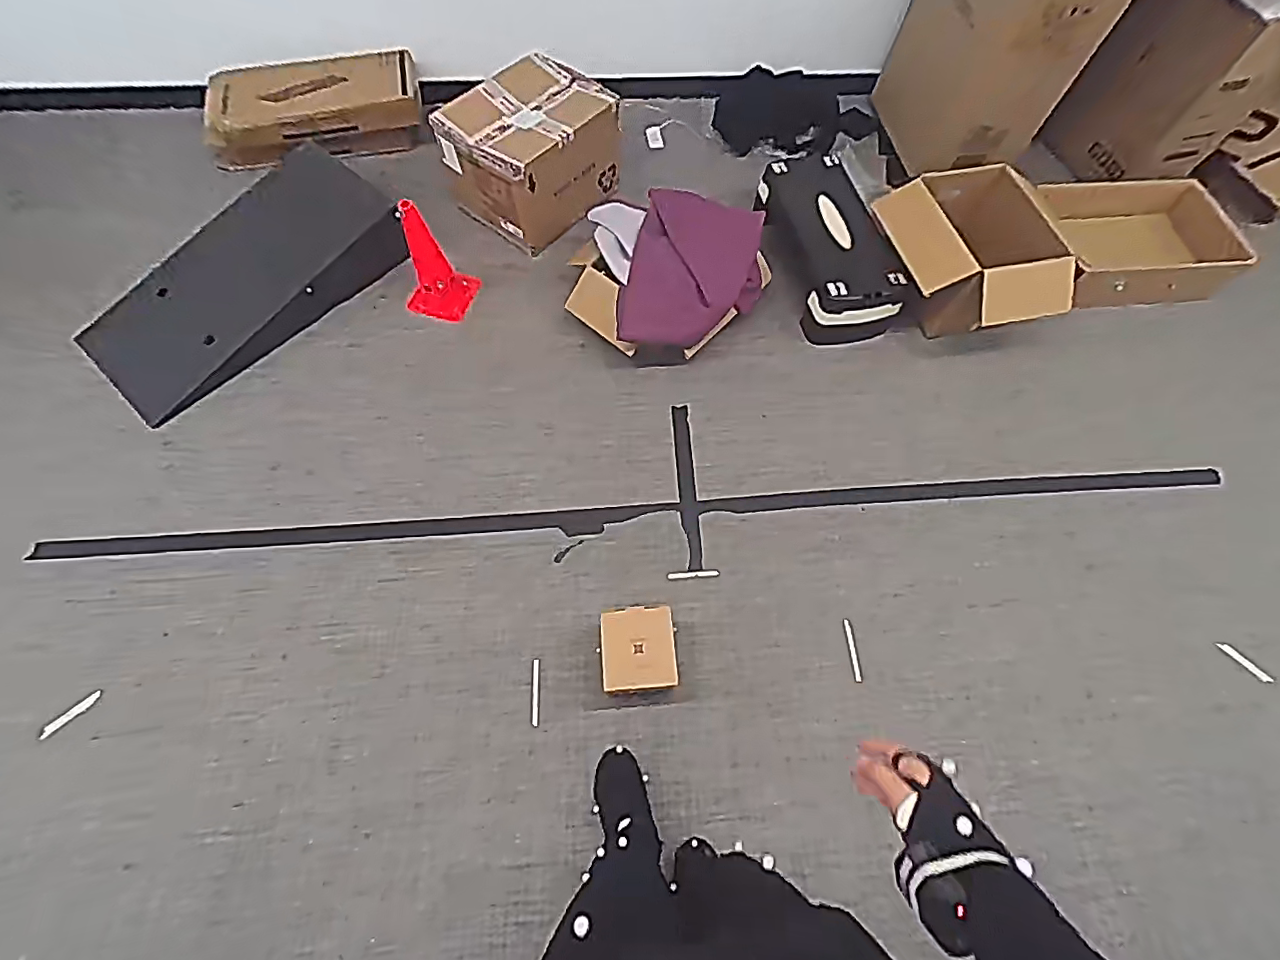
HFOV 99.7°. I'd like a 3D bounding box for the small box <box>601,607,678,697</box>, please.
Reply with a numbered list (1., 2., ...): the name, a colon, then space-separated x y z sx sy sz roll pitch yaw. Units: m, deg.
1. small box: -0.006 0.410 1.279 0.168 0.176 0.179 -5 66 -2
